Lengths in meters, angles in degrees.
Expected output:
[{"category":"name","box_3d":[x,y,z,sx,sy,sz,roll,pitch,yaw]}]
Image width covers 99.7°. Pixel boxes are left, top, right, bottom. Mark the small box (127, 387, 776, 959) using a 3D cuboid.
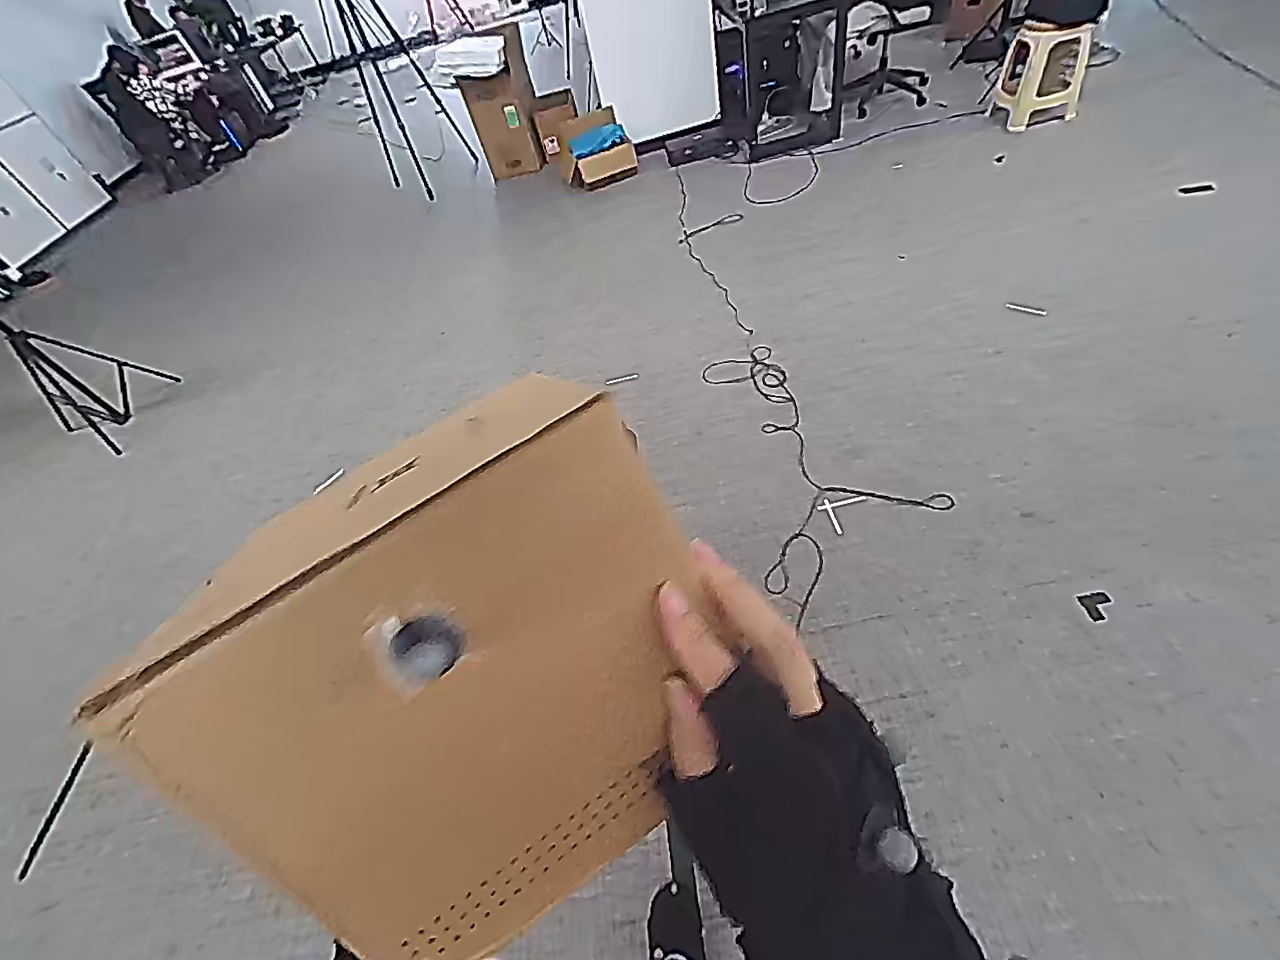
[{"category":"small box","box_3d":[-0.065,0.070,0.268,0.179,0.176,0.168,-31,21,-12]}]
